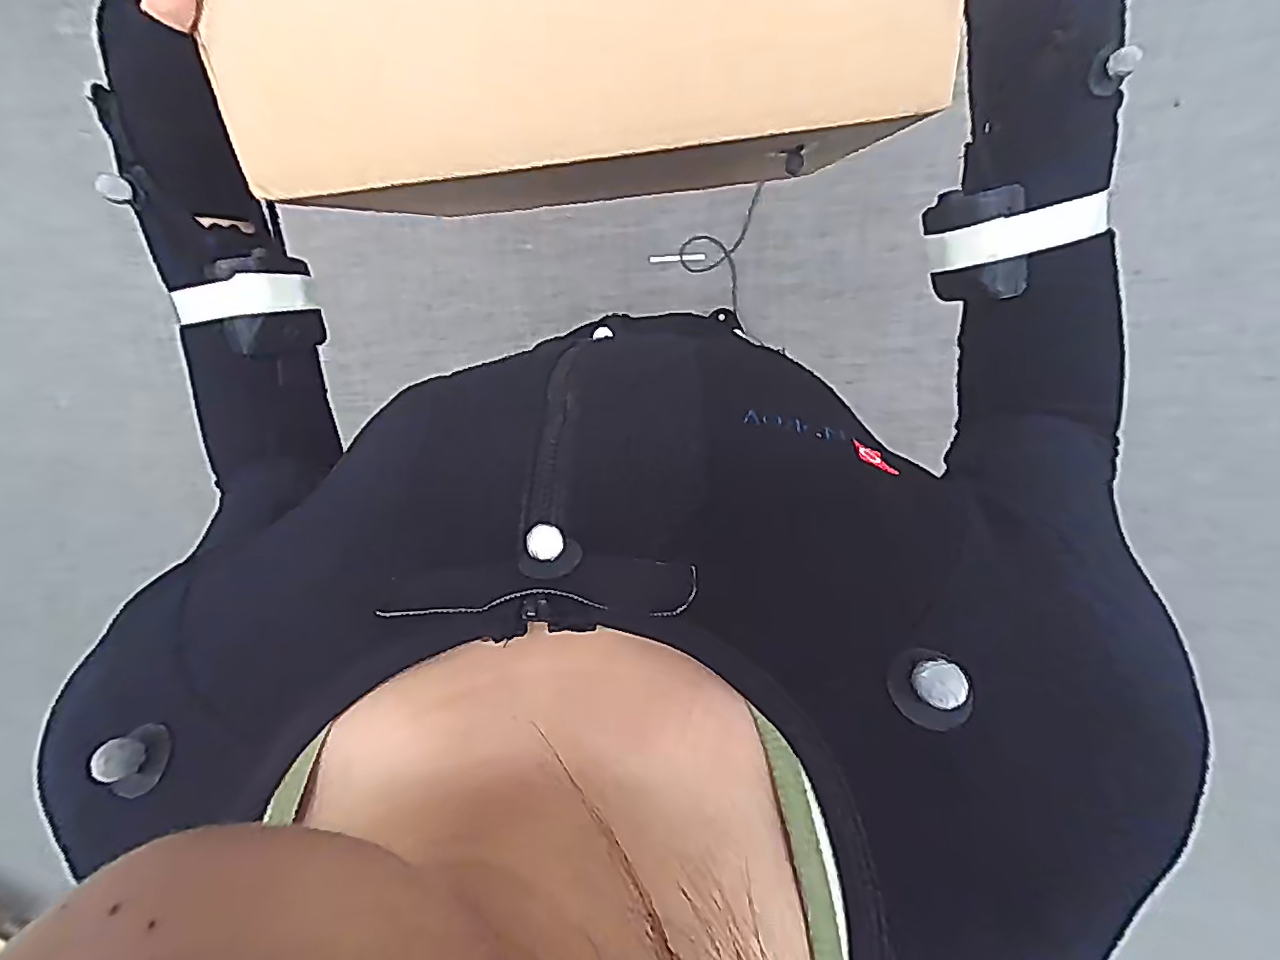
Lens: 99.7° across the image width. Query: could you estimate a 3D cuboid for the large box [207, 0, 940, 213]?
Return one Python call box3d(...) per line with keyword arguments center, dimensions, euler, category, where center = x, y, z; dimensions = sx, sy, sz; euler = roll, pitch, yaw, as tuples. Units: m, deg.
box3d(center=(-0.039, -0.392, 0.398), dimensions=(0.408, 0.320, 0.320), euler=(-4, 113, 6), category="large box")
